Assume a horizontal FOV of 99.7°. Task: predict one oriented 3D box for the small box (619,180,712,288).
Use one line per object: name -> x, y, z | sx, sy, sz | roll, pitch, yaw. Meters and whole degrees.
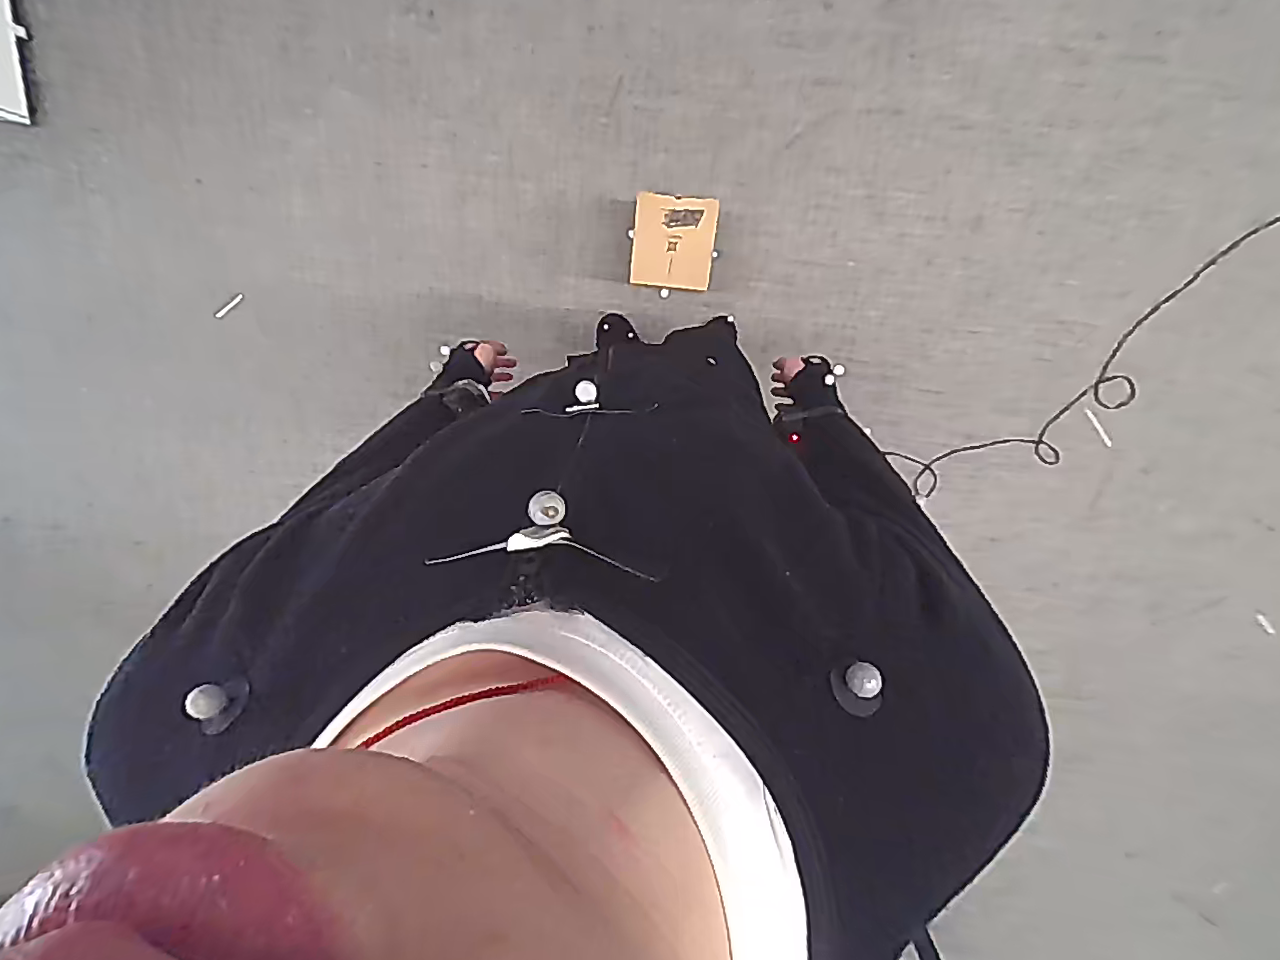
small box -> 0.052, -0.521, 1.168 | 0.168, 0.176, 0.179 | 9, 107, -1
